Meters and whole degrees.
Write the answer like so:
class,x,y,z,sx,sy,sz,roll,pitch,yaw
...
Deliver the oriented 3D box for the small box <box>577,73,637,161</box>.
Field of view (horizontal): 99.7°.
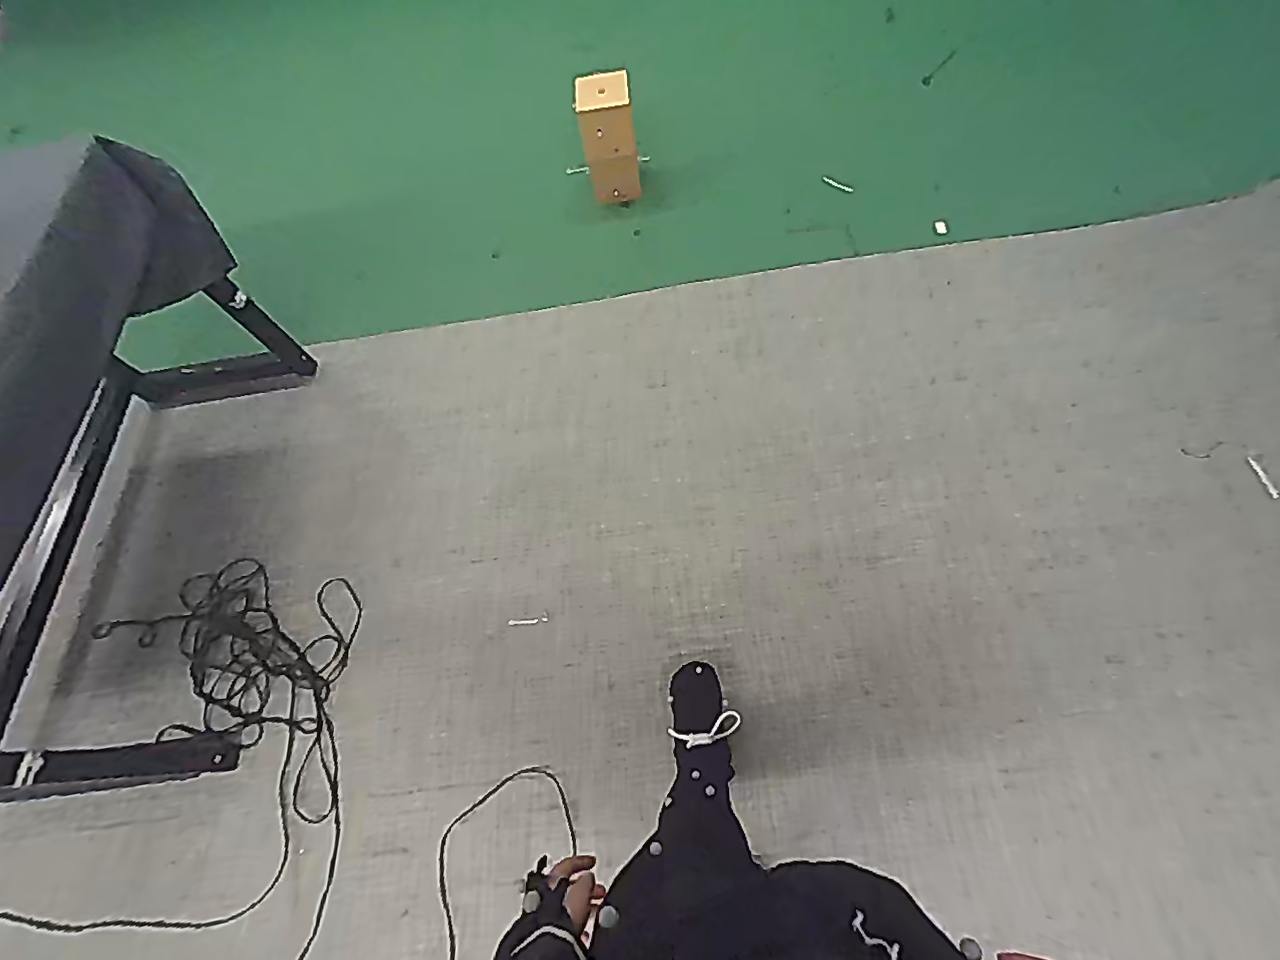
class,x,y,z,sx,sy,sz,roll,pitch,yaw
small box,-0.104,-1.152,1.733,0.168,0.176,0.179,-7,64,4
